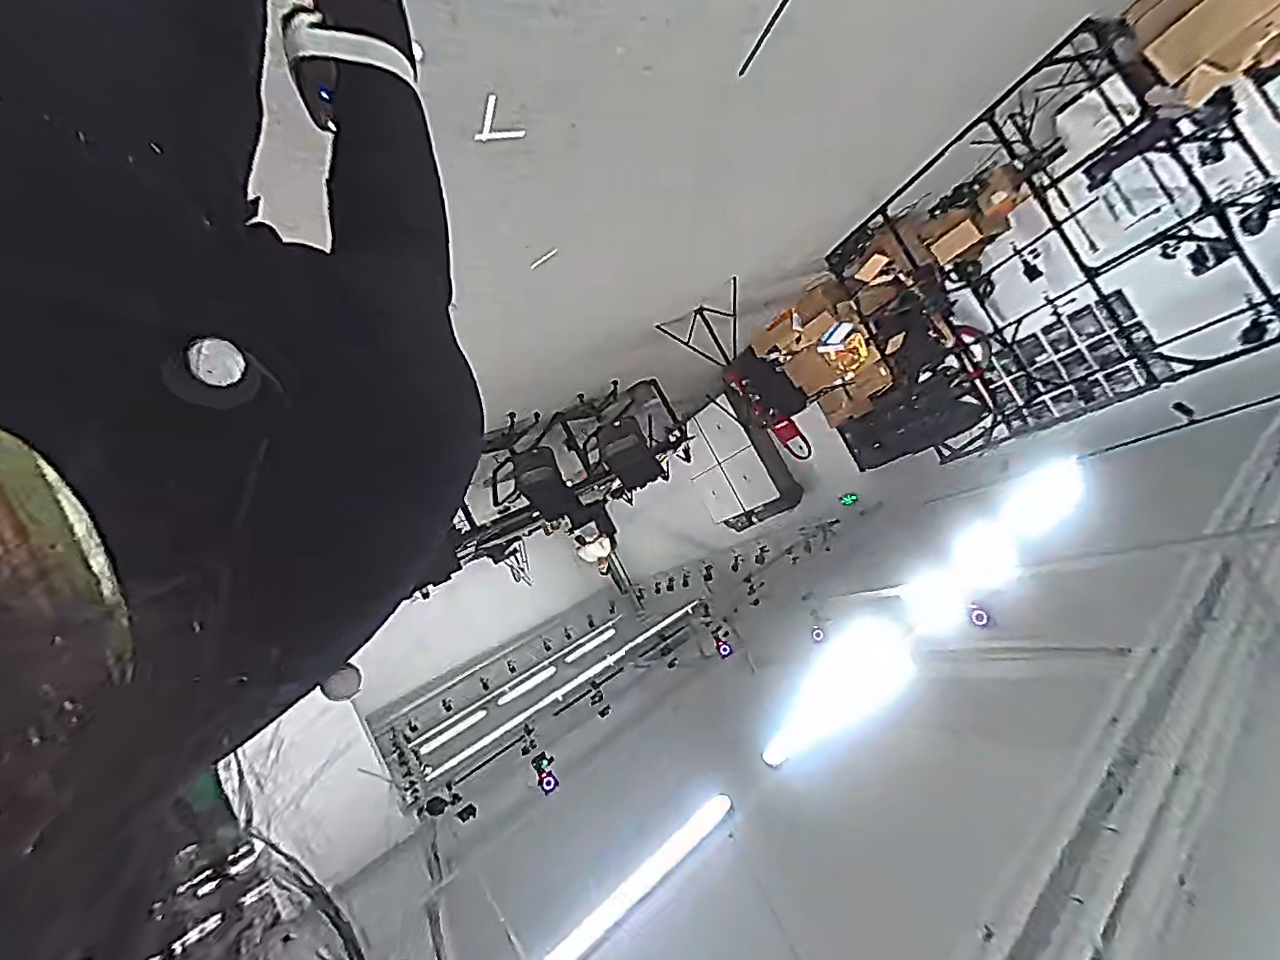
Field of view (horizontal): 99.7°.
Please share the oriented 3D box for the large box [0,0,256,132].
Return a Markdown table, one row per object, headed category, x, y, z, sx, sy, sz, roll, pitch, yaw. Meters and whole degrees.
| category | x | y | z | sx | sy | sz | roll | pitch | yaw |
| --- | --- | --- | --- | --- | --- | --- | --- | --- | --- |
| large box | -0.876 | -0.790 | 0.818 | 0.408 | 0.320 | 0.320 | -26 | 175 | -39 |
